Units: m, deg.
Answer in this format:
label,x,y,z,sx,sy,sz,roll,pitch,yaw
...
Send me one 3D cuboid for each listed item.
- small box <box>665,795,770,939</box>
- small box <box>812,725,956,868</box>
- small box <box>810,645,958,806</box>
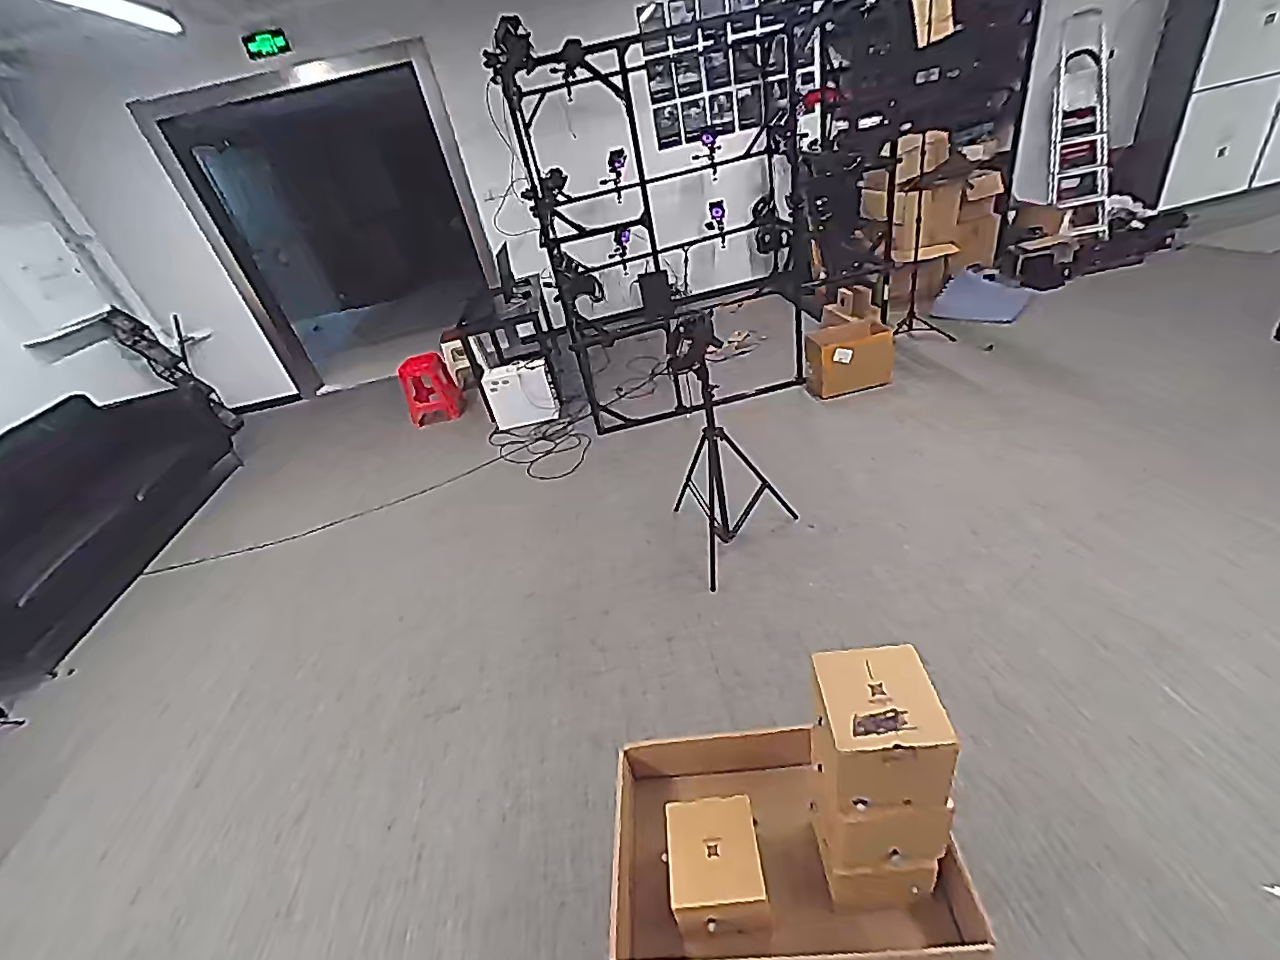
label,x,y,z,sx,sy,sz,roll,pitch,yaw
small box,0.145,0.735,1.023,0.168,0.176,0.179,-10,32,5
small box,0.404,0.534,0.929,0.179,0.176,0.168,-9,32,4
small box,0.372,0.390,0.853,0.168,0.176,0.179,-8,32,8
